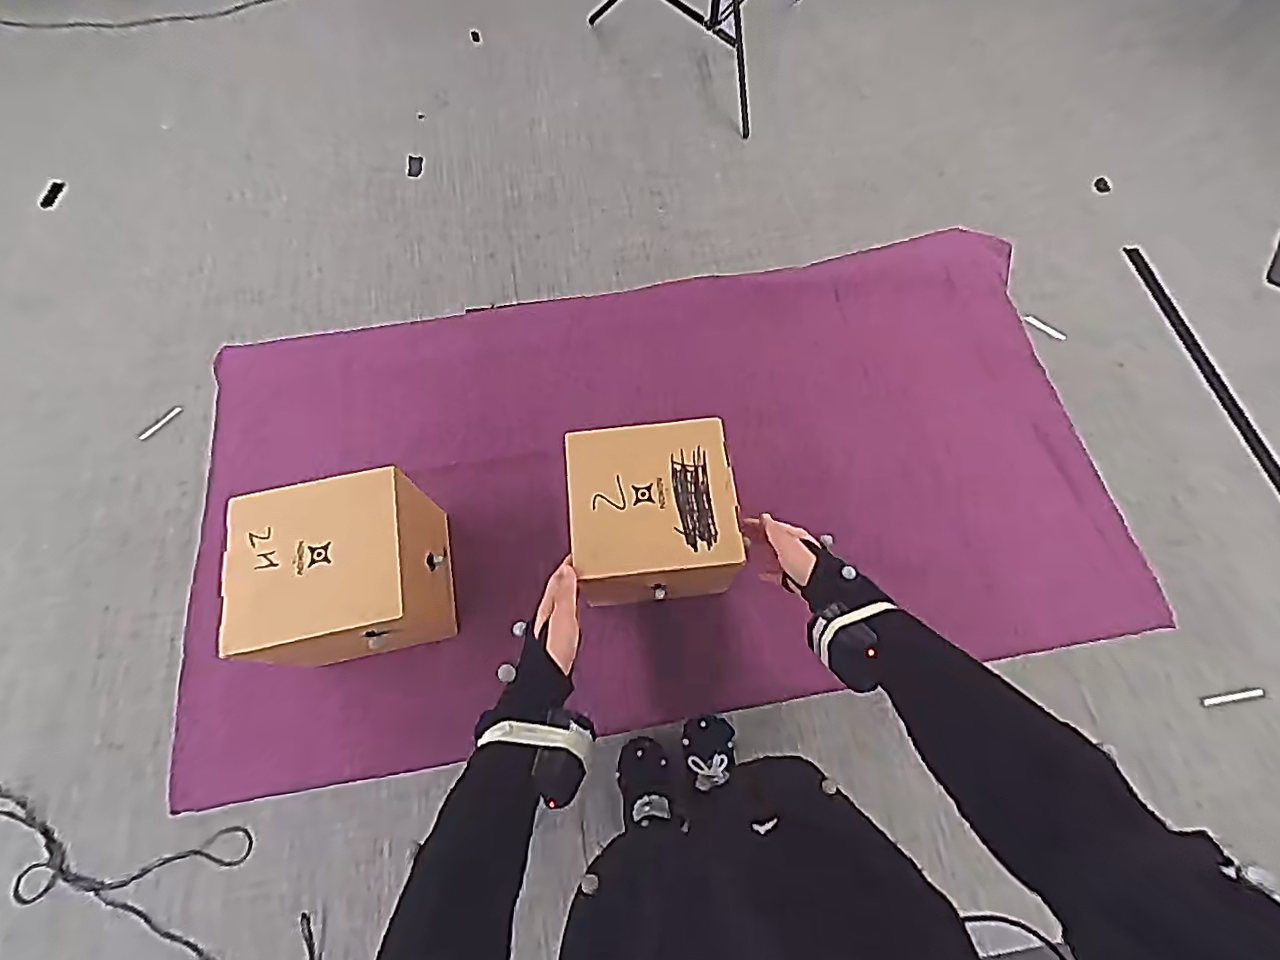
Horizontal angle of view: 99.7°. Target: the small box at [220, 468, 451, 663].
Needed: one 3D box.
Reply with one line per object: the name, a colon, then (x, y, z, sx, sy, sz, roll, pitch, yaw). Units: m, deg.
small box: (-0.326, 0.105, 0.617, 0.179, 0.176, 0.168, -12, 68, -4)
